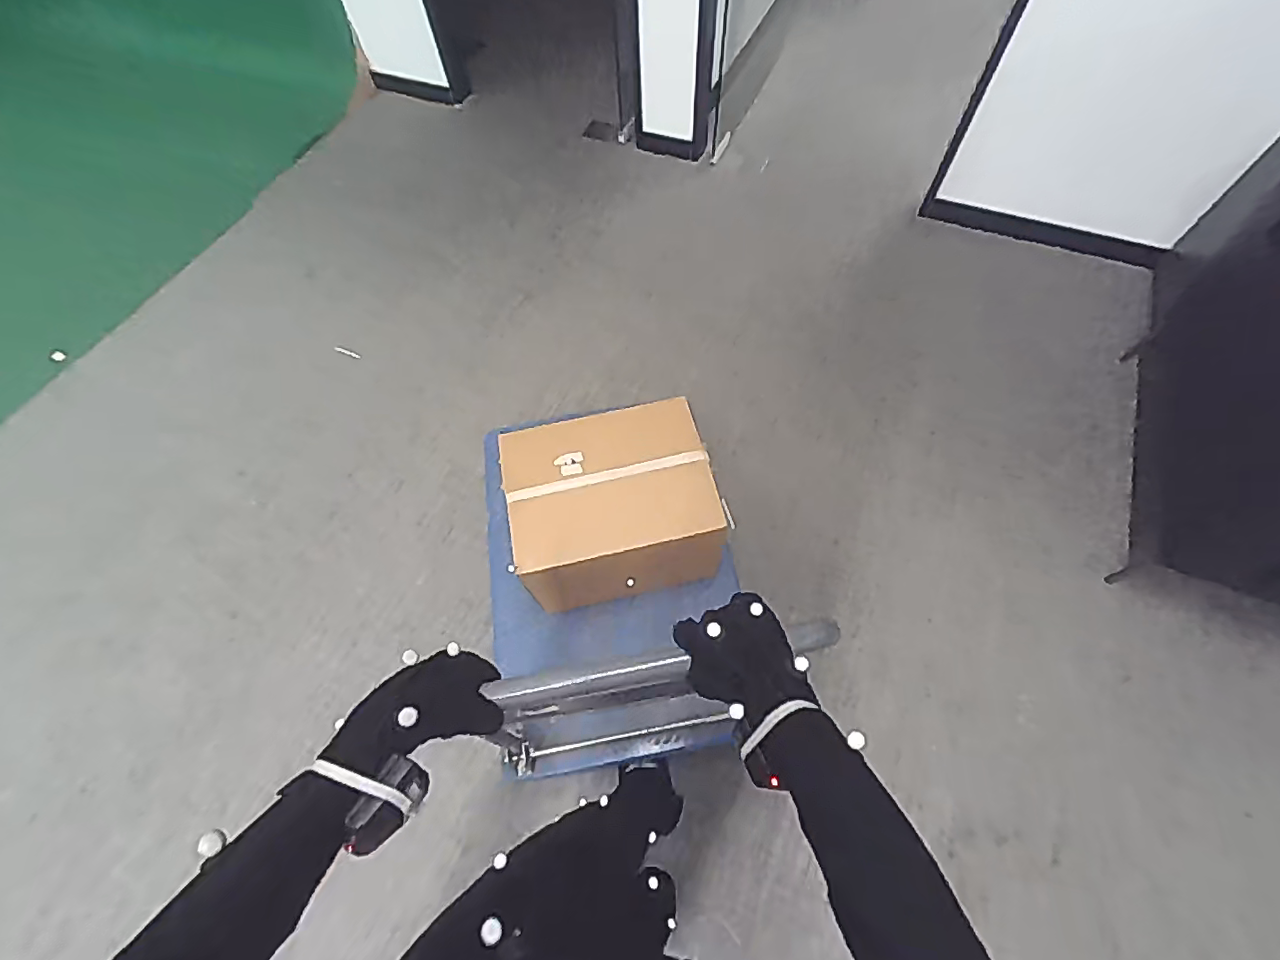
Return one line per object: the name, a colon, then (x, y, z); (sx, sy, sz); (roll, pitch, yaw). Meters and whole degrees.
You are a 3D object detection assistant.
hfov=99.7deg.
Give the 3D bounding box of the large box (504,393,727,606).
large box: (-0.050, 0.057, 1.213); (0.408, 0.320, 0.320); (-14, 63, -3)
